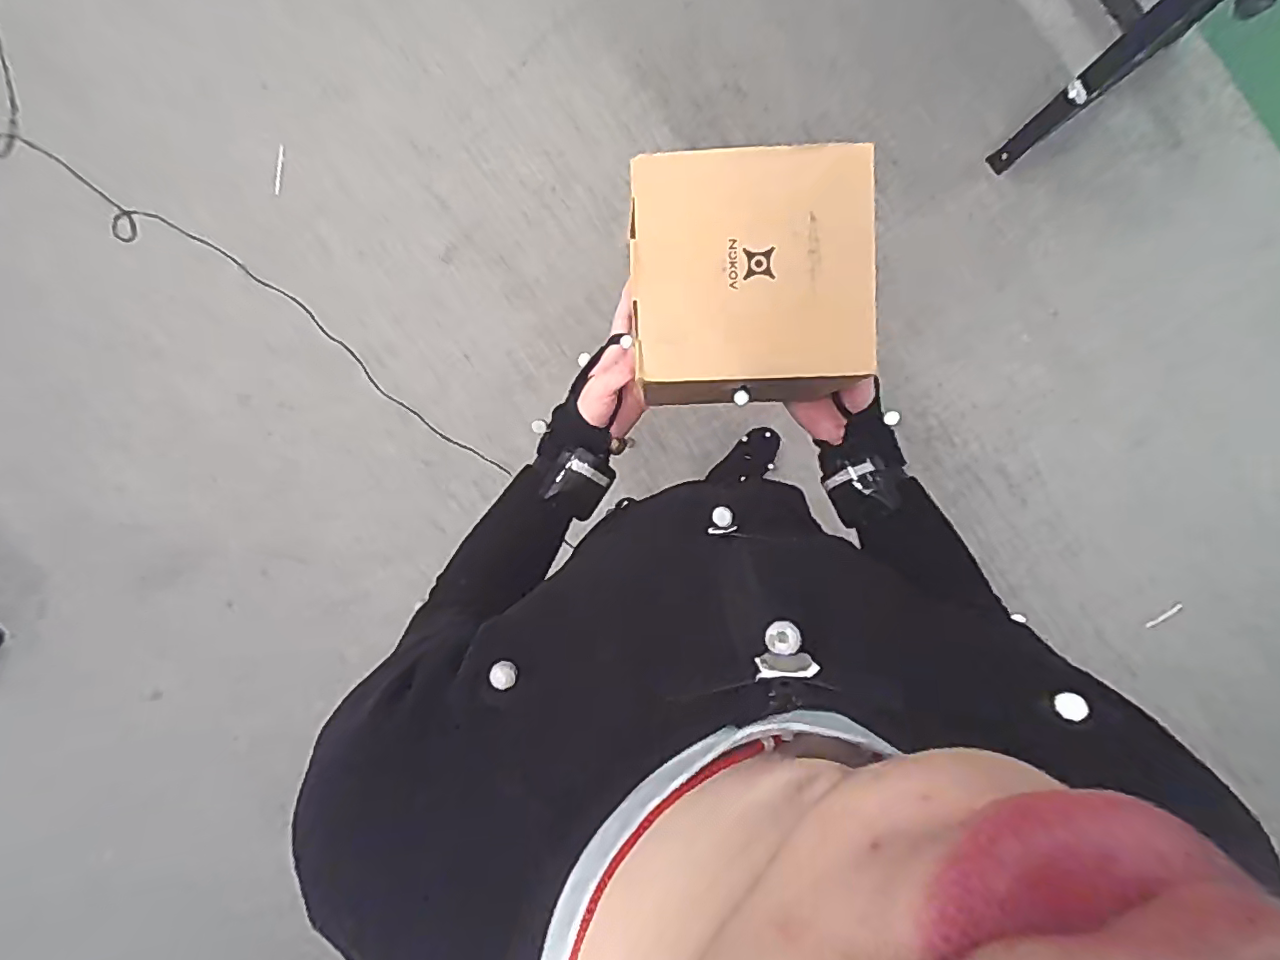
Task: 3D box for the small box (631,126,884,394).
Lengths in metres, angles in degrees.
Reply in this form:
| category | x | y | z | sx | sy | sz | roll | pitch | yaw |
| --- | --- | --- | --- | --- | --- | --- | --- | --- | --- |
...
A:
| category | x | y | z | sx | sy | sz | roll | pitch | yaw |
| --- | --- | --- | --- | --- | --- | --- | --- | --- | --- |
| small box | 0.087 | -0.166 | 0.462 | 0.179 | 0.176 | 0.168 | -2 | 94 | 1 |
